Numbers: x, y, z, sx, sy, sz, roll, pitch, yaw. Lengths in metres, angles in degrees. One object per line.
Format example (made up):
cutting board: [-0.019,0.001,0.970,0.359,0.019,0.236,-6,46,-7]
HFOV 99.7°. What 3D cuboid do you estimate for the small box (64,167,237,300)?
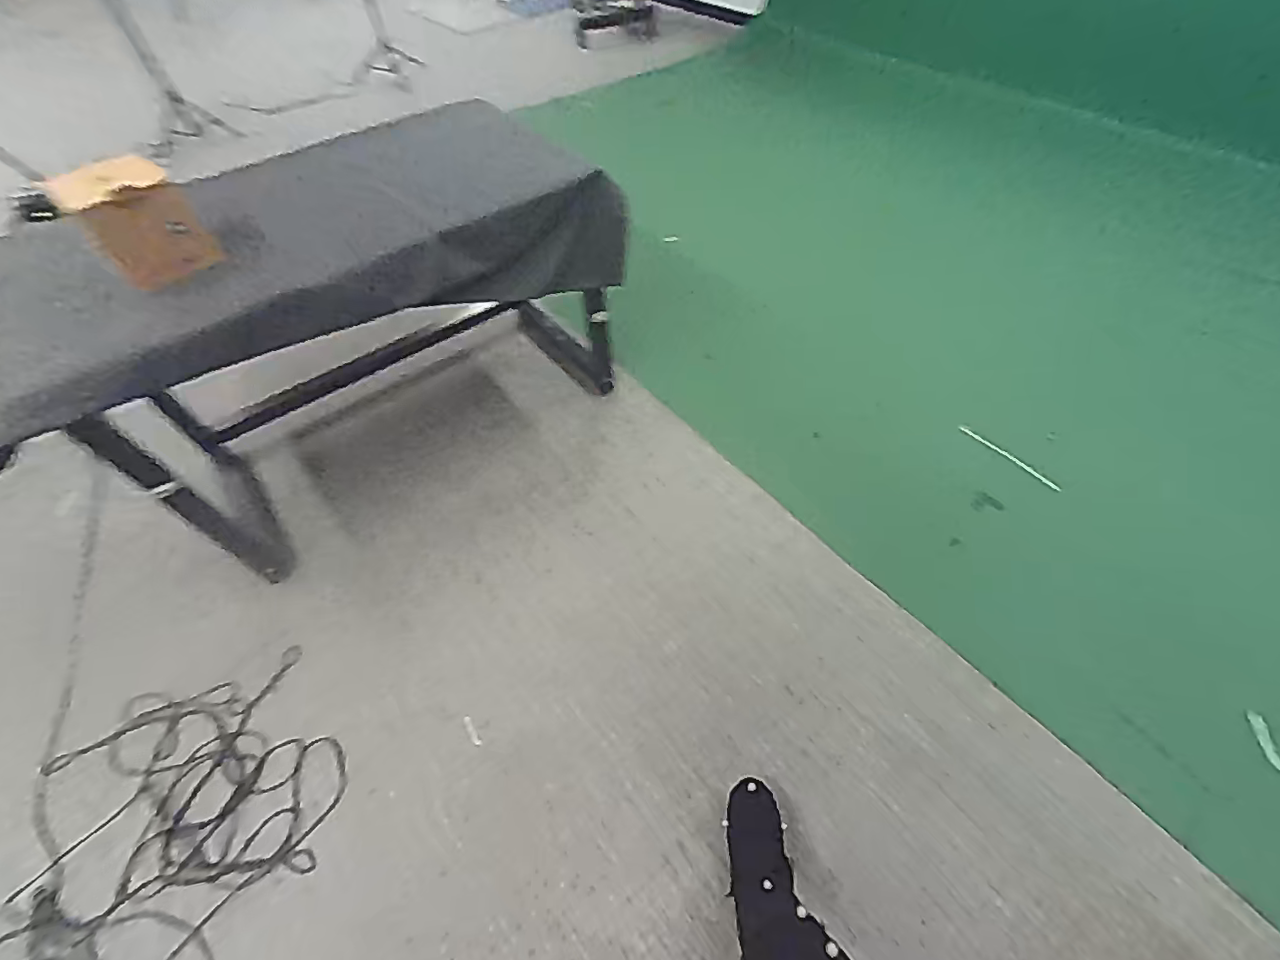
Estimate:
small box: [-0.953,-0.483,1.069,0.179,0.176,0.168,33,60,26]
